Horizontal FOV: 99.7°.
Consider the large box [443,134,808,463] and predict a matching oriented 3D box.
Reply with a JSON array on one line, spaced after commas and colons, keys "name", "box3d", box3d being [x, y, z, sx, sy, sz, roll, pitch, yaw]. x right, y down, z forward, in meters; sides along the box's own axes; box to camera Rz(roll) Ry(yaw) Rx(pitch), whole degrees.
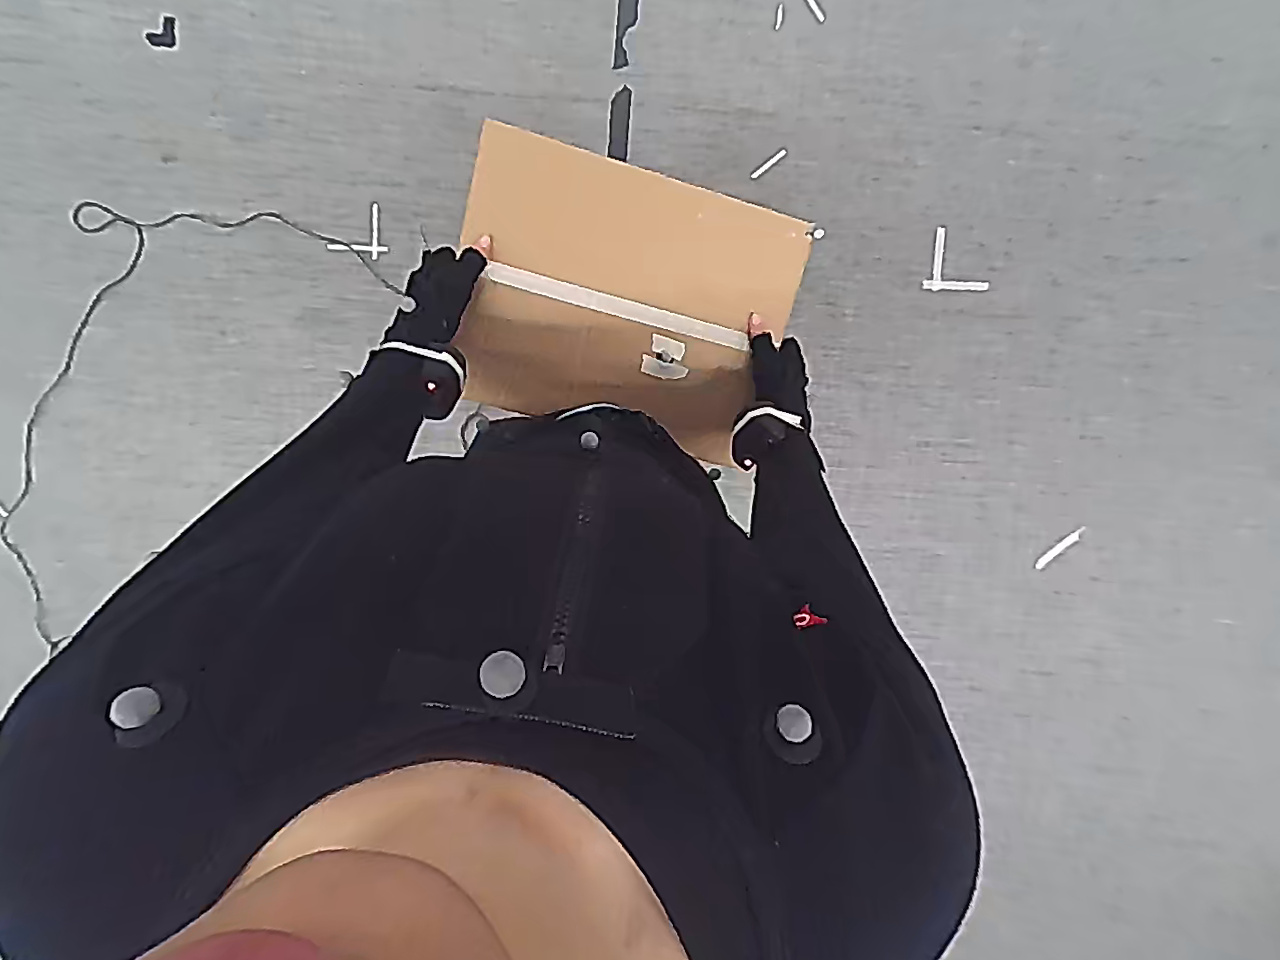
[{"name": "large box", "box3d": [-0.033, -0.239, 0.814, 0.408, 0.320, 0.320, 14, 101, -8]}]
